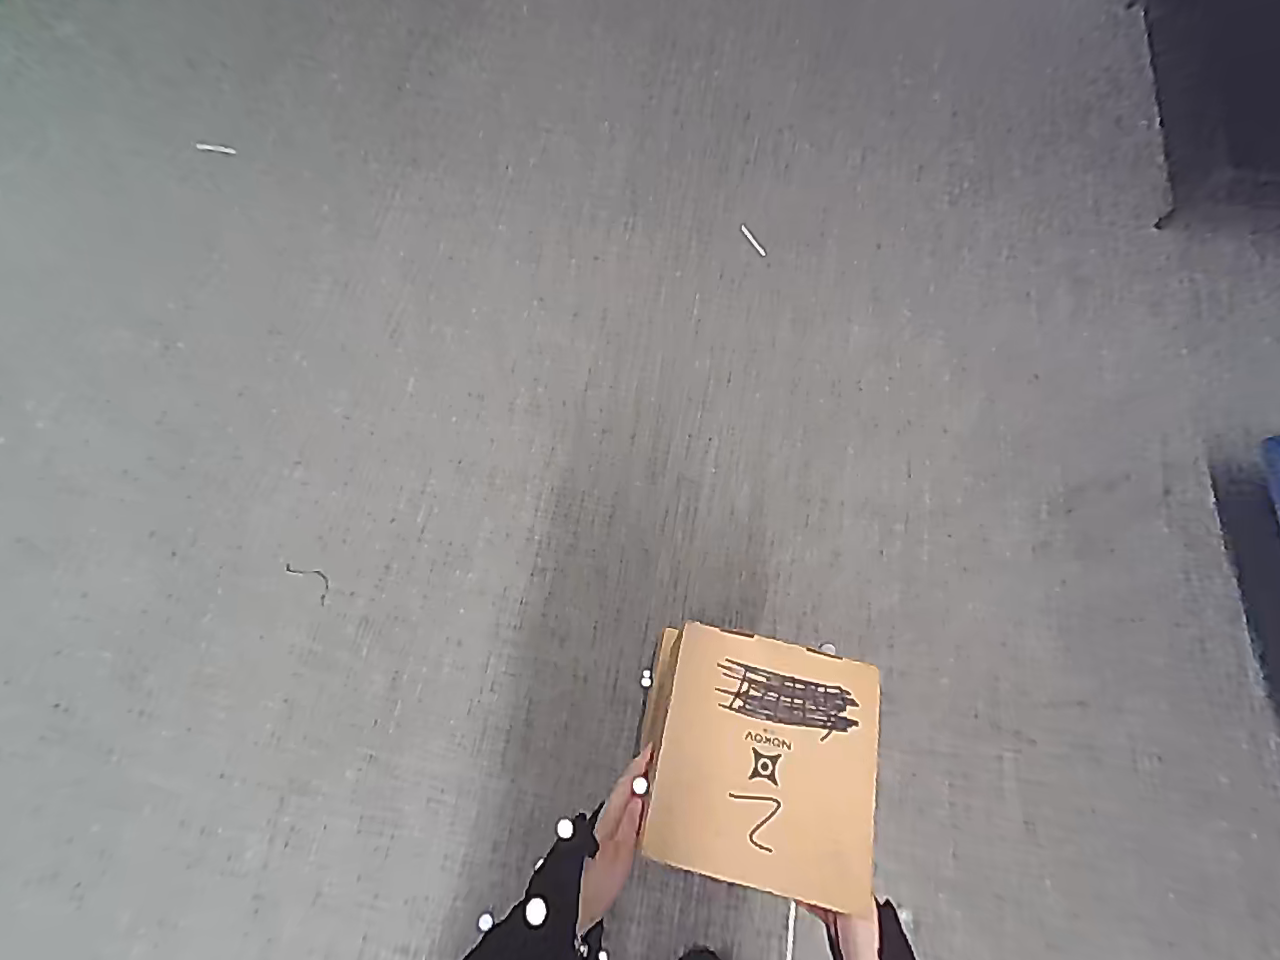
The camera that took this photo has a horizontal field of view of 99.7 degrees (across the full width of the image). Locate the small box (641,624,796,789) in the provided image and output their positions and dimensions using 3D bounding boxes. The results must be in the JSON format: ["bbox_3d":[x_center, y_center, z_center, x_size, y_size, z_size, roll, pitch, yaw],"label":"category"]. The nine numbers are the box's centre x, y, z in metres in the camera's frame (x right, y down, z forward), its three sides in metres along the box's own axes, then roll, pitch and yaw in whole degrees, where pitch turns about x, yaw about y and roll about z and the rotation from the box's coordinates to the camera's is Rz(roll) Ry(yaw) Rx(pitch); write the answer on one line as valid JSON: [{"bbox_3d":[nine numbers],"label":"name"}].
[{"bbox_3d":[0.103,0.307,0.760,0.179,0.176,0.168,11,73,3],"label":"small box"}]
